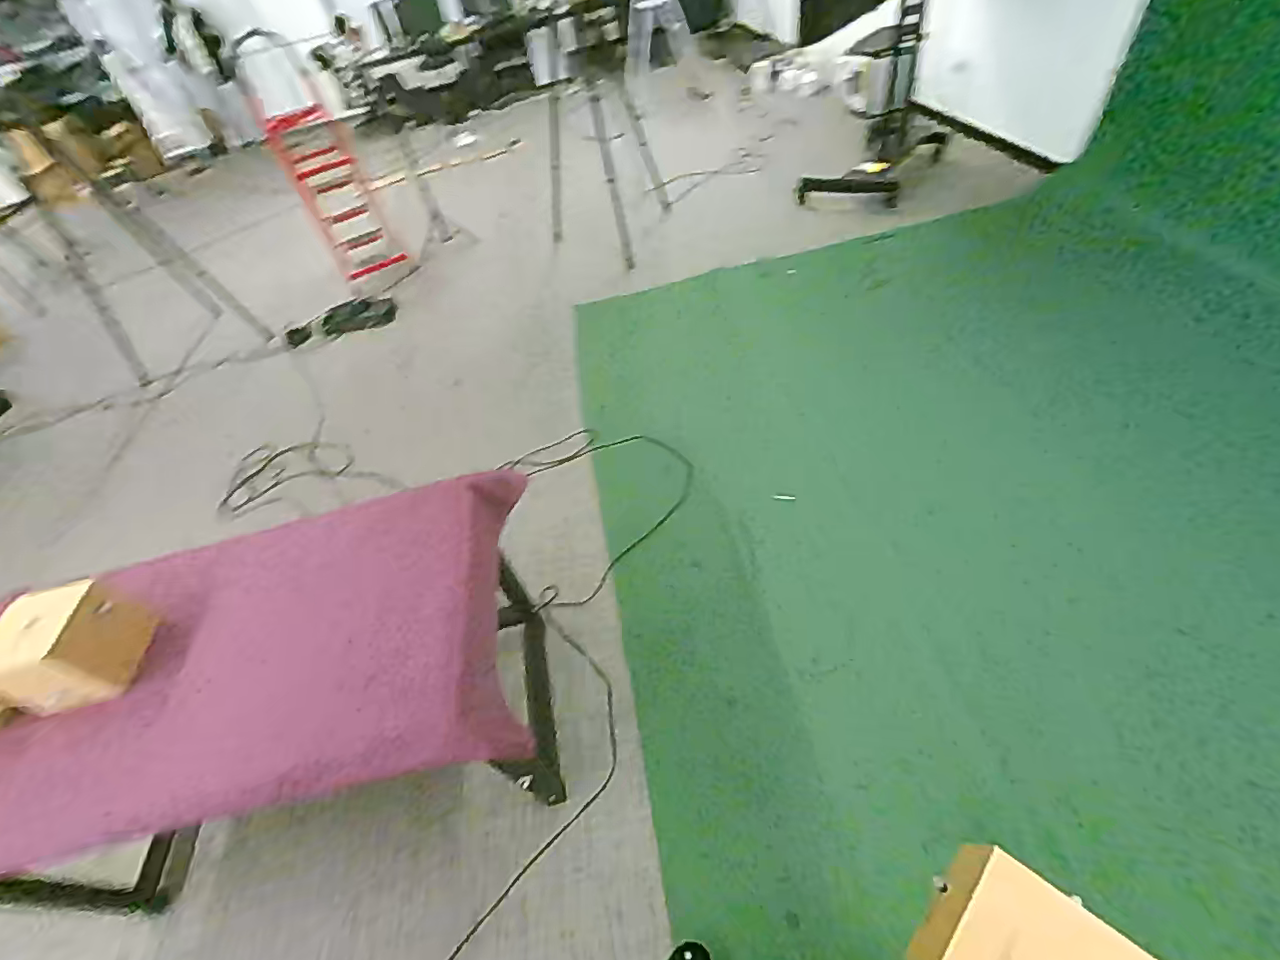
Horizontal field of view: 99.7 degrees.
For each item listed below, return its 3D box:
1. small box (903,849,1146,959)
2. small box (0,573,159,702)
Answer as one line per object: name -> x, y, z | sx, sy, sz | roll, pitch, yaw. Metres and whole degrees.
small box -> 0.428, 0.550, 0.608 | 0.179, 0.176, 0.168 | 31, 70, 30
small box -> -1.132, 0.317, 1.085 | 0.168, 0.176, 0.179 | -13, 48, 1
